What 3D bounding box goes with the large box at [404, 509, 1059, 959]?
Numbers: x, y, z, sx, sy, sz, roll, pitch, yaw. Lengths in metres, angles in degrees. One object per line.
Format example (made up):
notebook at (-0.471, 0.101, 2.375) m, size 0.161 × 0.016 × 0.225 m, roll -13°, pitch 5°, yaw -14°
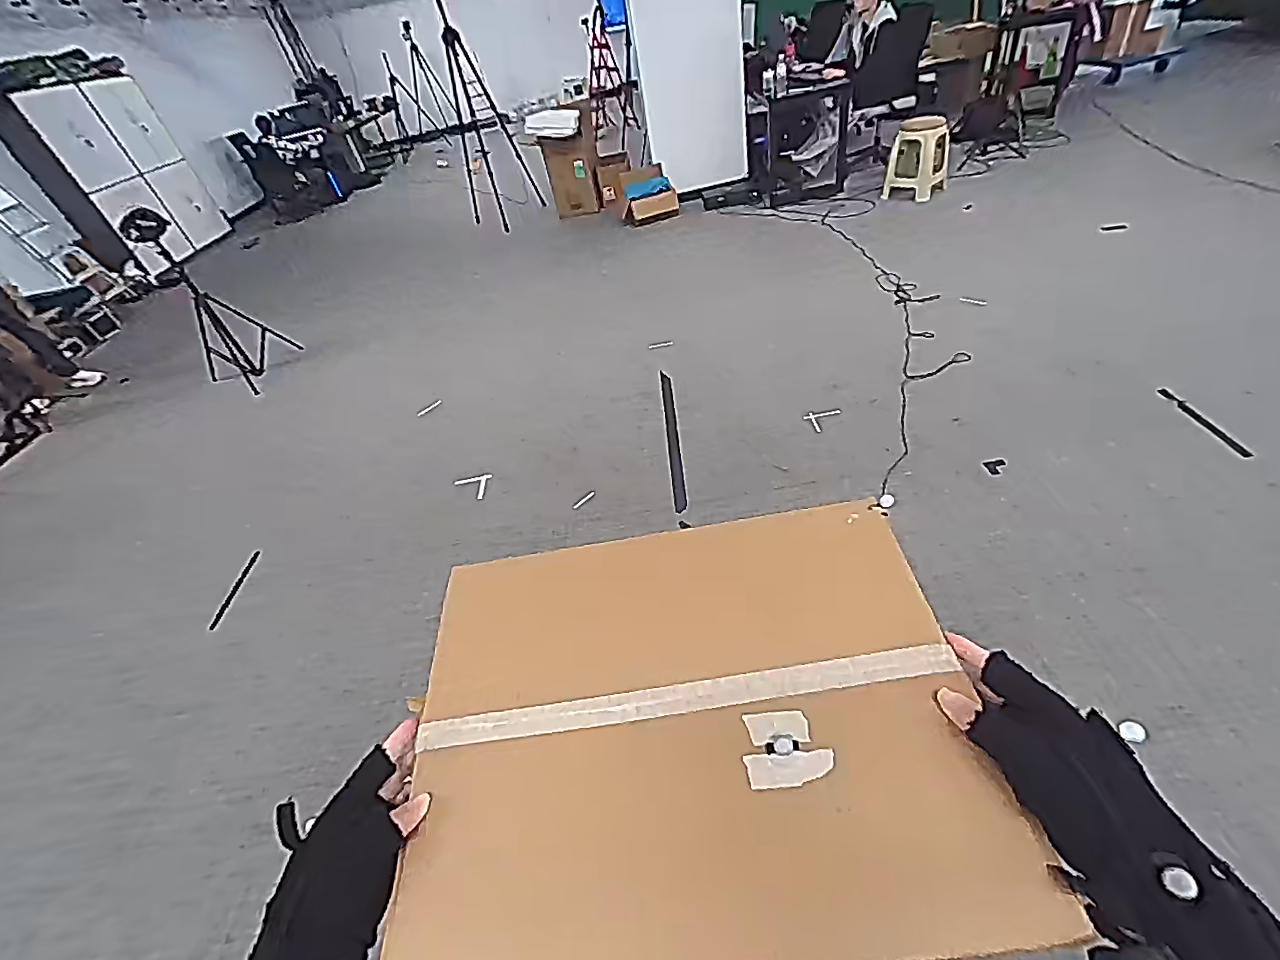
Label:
large box at (0.055, 0.271, 0.526) m, size 0.408 × 0.320 × 0.320 m, roll -10°, pitch 48°, yaw 3°
